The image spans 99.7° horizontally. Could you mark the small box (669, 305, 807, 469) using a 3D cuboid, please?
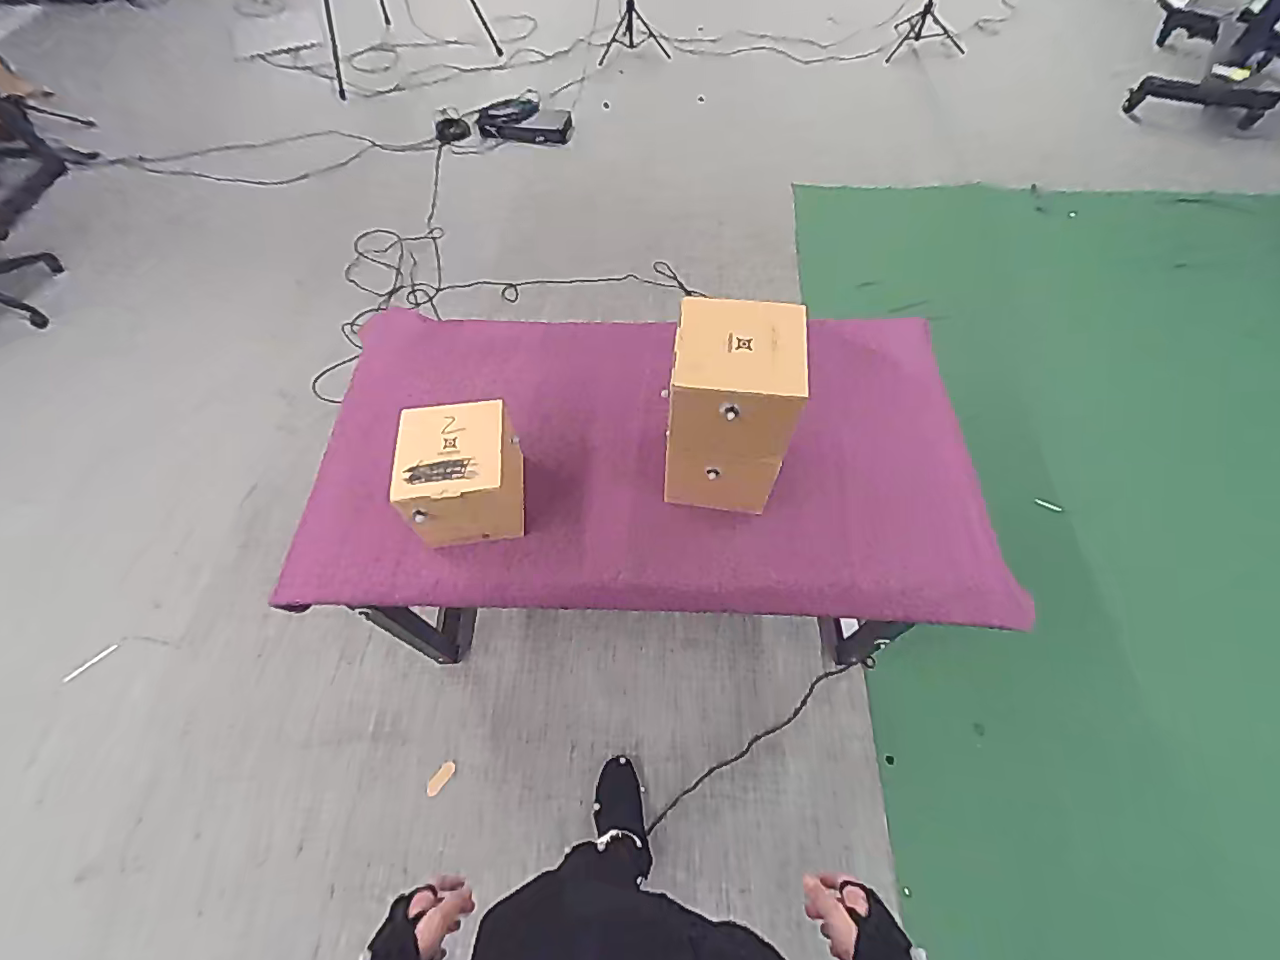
[{"bbox_3d":[0.137,-0.130,0.789,0.179,0.176,0.168,6,61,5],"label":"small box"}]

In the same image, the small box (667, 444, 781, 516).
[{"bbox_3d":[0.142,-0.051,0.931,0.179,0.176,0.168,7,60,5],"label":"small box"}]
